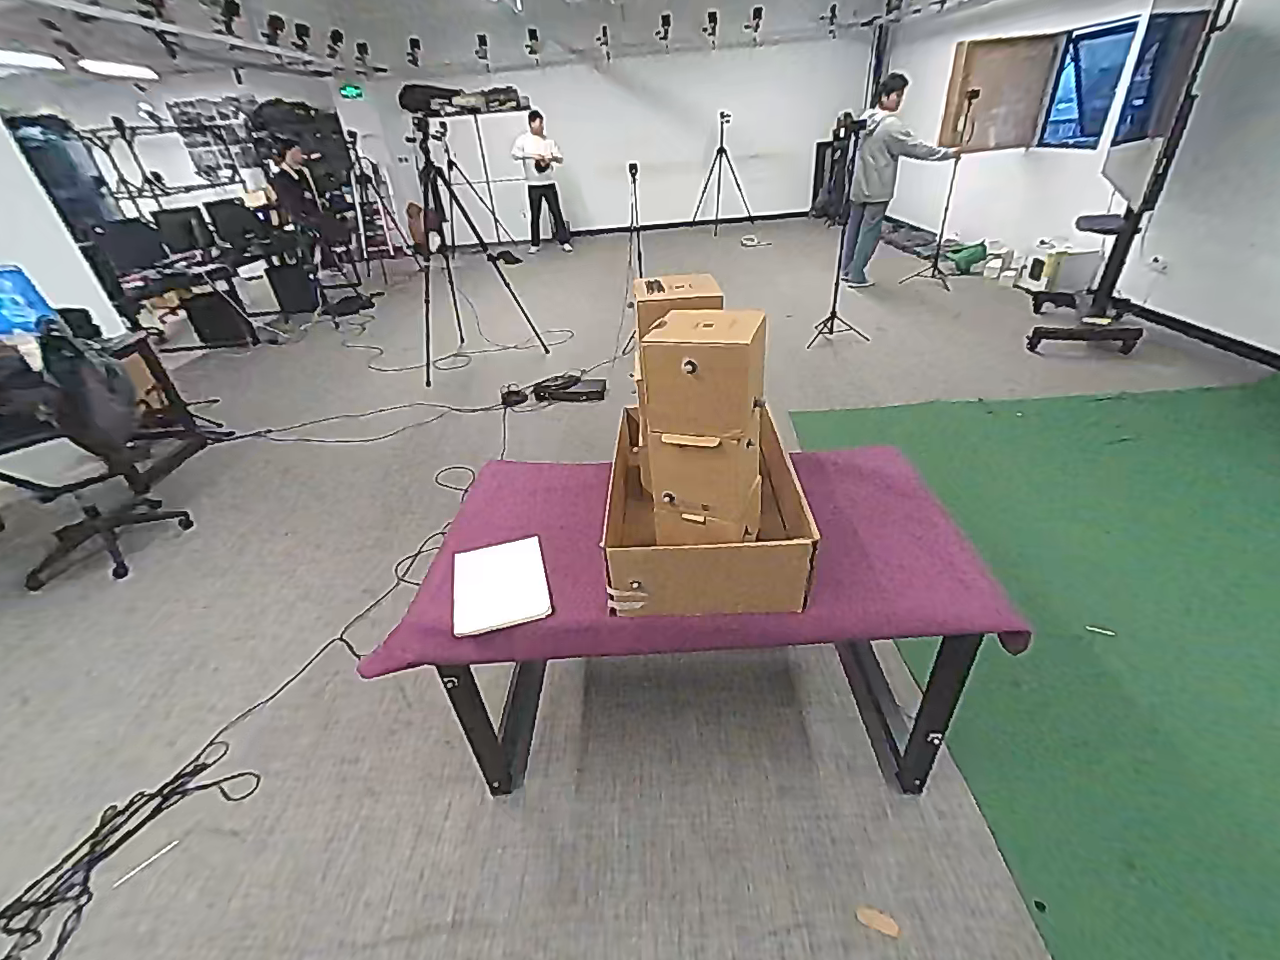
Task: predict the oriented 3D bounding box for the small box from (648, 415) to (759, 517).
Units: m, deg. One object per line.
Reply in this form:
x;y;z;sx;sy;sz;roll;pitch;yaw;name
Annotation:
0.129;-0.049;1.022;0.168;0.176;0.179;8;34;22;small box

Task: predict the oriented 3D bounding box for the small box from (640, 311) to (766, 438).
0.115;-0.184;0.932;0.179;0.176;0.168;7;35;20;small box

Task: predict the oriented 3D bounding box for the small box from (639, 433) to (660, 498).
0.090;-0.063;1.355;0.168;0.176;0.179;-2;35;4;small box

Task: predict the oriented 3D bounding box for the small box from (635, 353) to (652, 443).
0.083;-0.194;1.261;0.179;0.176;0.168;-4;35;2;small box
